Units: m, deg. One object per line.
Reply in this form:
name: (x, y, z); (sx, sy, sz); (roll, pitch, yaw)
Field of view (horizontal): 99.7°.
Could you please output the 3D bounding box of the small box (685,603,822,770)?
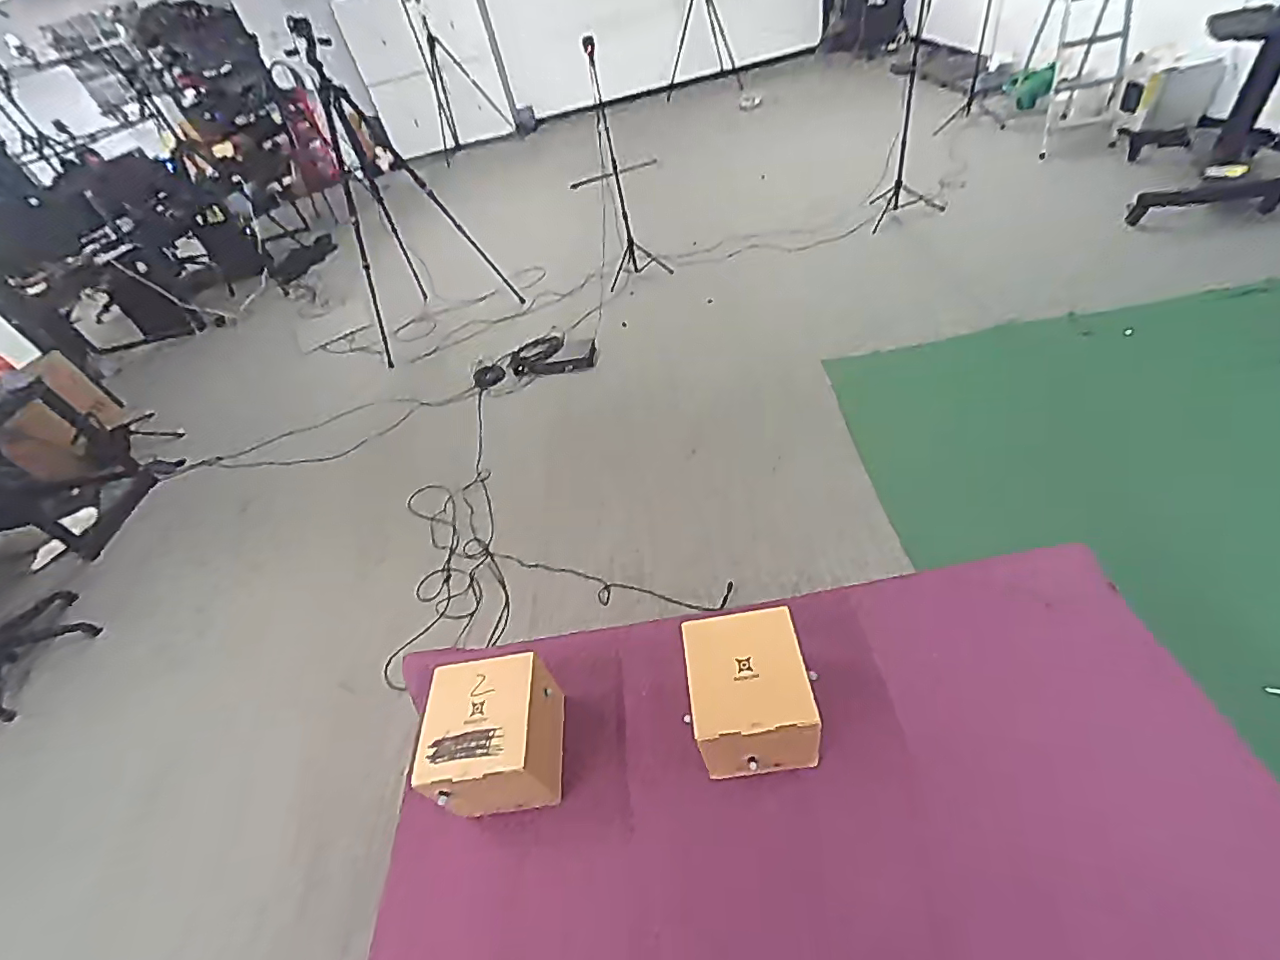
small box: (0.166, 0.315, 0.822); (0.168, 0.176, 0.179); (-10, 45, 5)
